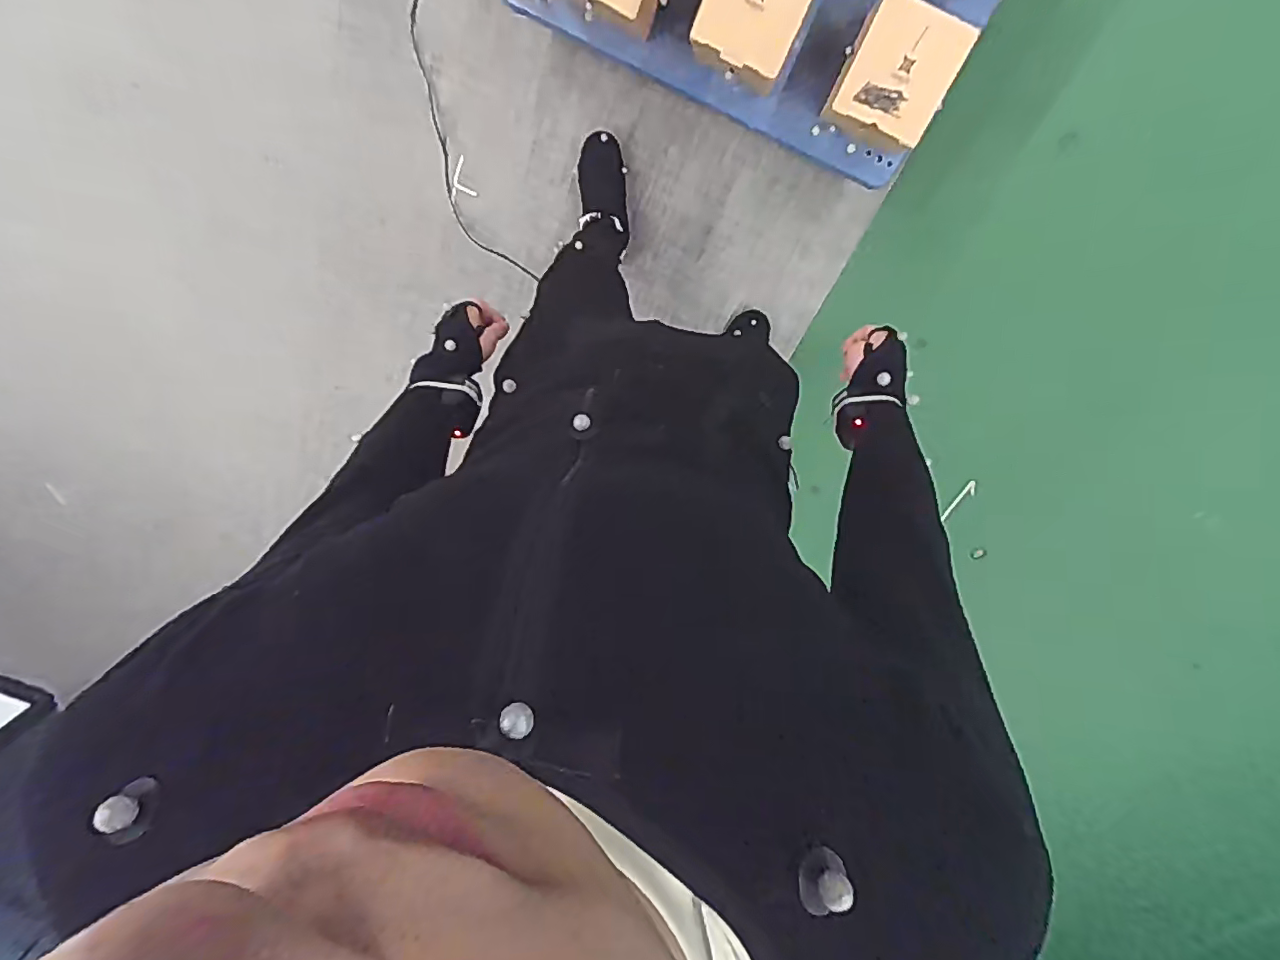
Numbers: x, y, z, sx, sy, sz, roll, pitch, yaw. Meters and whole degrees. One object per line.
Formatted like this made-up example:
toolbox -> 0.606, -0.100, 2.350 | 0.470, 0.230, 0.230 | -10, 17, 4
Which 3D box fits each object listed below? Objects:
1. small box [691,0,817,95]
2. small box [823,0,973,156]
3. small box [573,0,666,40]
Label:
small box -> 0.206, -0.816, 0.953 | 0.168, 0.176, 0.179 | 25, 120, -6
small box -> 0.453, -0.717, 0.987 | 0.168, 0.176, 0.179 | 23, 119, -5
small box -> -0.036, -0.912, 0.942 | 0.179, 0.176, 0.168 | 26, 120, -7
